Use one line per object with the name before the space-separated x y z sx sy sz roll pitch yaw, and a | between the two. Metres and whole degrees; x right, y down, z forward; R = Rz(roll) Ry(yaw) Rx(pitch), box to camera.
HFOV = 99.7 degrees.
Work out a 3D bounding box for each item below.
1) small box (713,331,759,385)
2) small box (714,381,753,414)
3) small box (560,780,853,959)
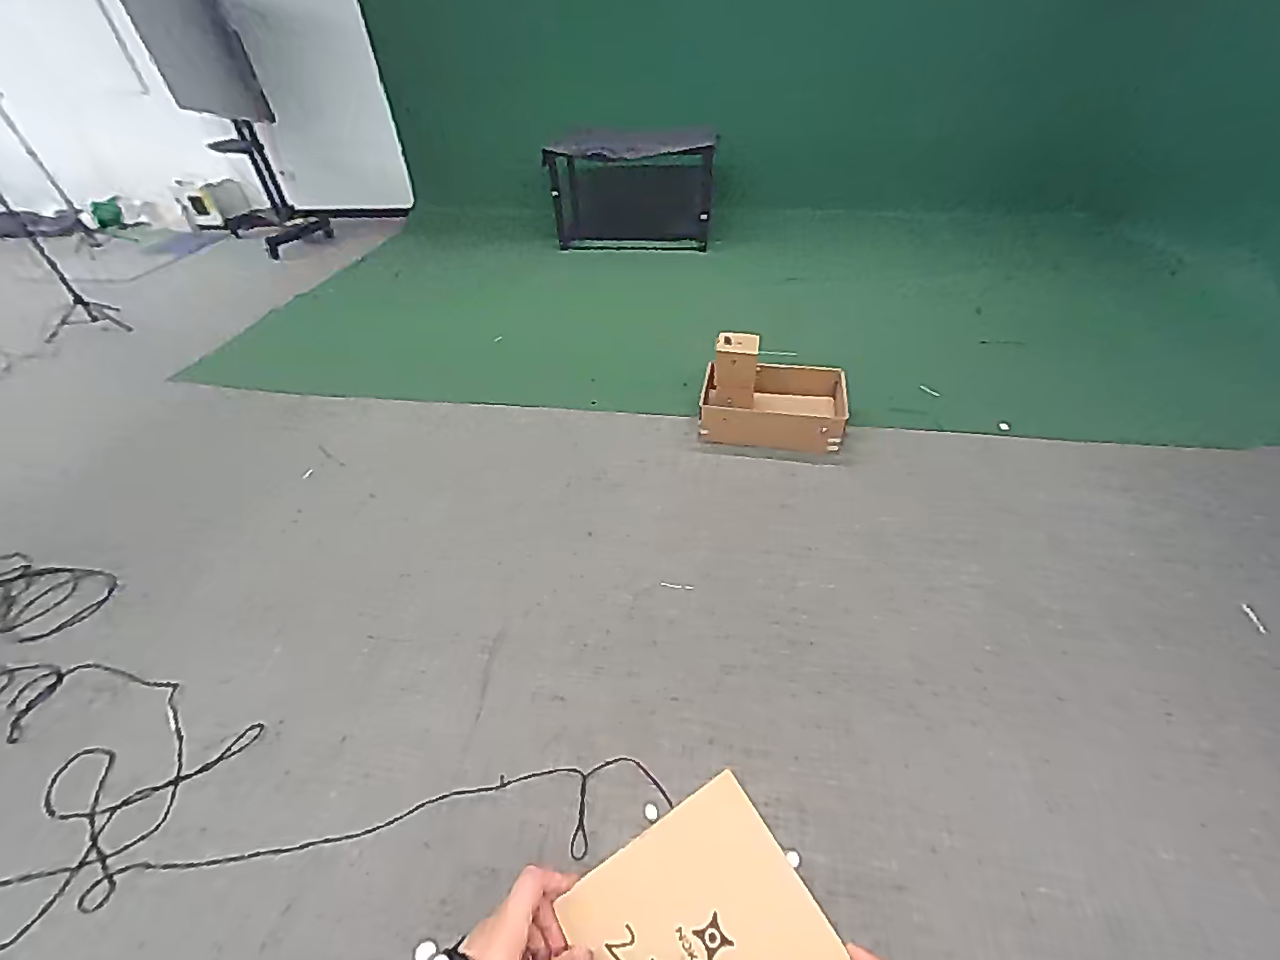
small box | 0.417 -0.532 2.358 0.179 0.176 0.168 7 44 10
small box | 0.431 -0.417 2.476 0.168 0.176 0.179 6 44 10
small box | 0.056 0.392 0.471 0.179 0.176 0.168 -30 60 -13
